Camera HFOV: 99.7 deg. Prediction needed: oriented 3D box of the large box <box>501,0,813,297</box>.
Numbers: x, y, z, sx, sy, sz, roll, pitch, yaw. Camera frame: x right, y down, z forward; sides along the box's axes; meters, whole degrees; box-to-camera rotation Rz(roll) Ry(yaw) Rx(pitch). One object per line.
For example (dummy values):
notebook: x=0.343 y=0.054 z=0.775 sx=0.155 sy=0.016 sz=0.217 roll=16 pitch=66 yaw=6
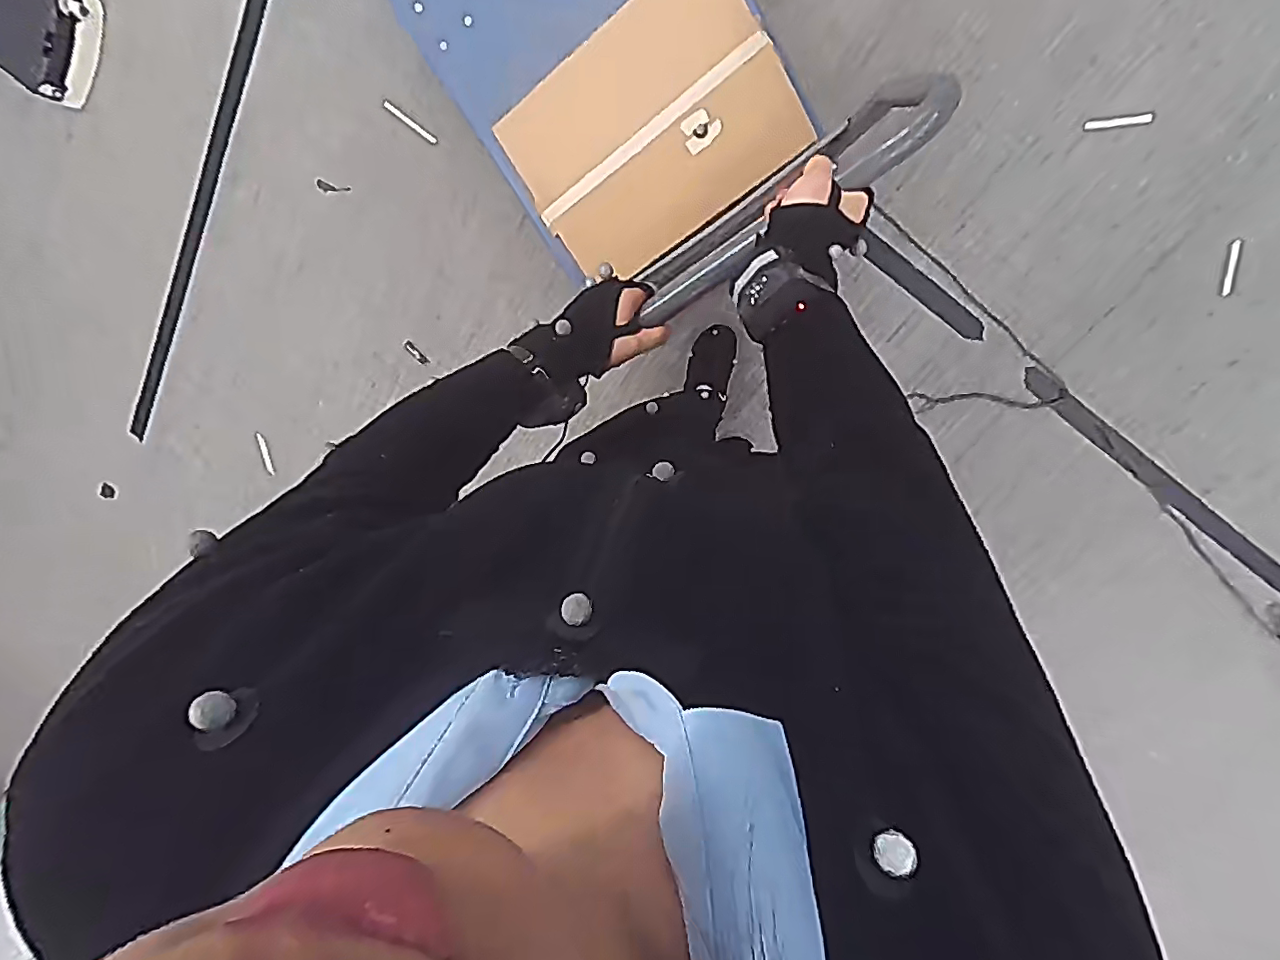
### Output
large box: x=0.038 y=-0.577 z=0.976 sx=0.408 sy=0.320 sz=0.320 roll=-31 pitch=102 yaw=17
